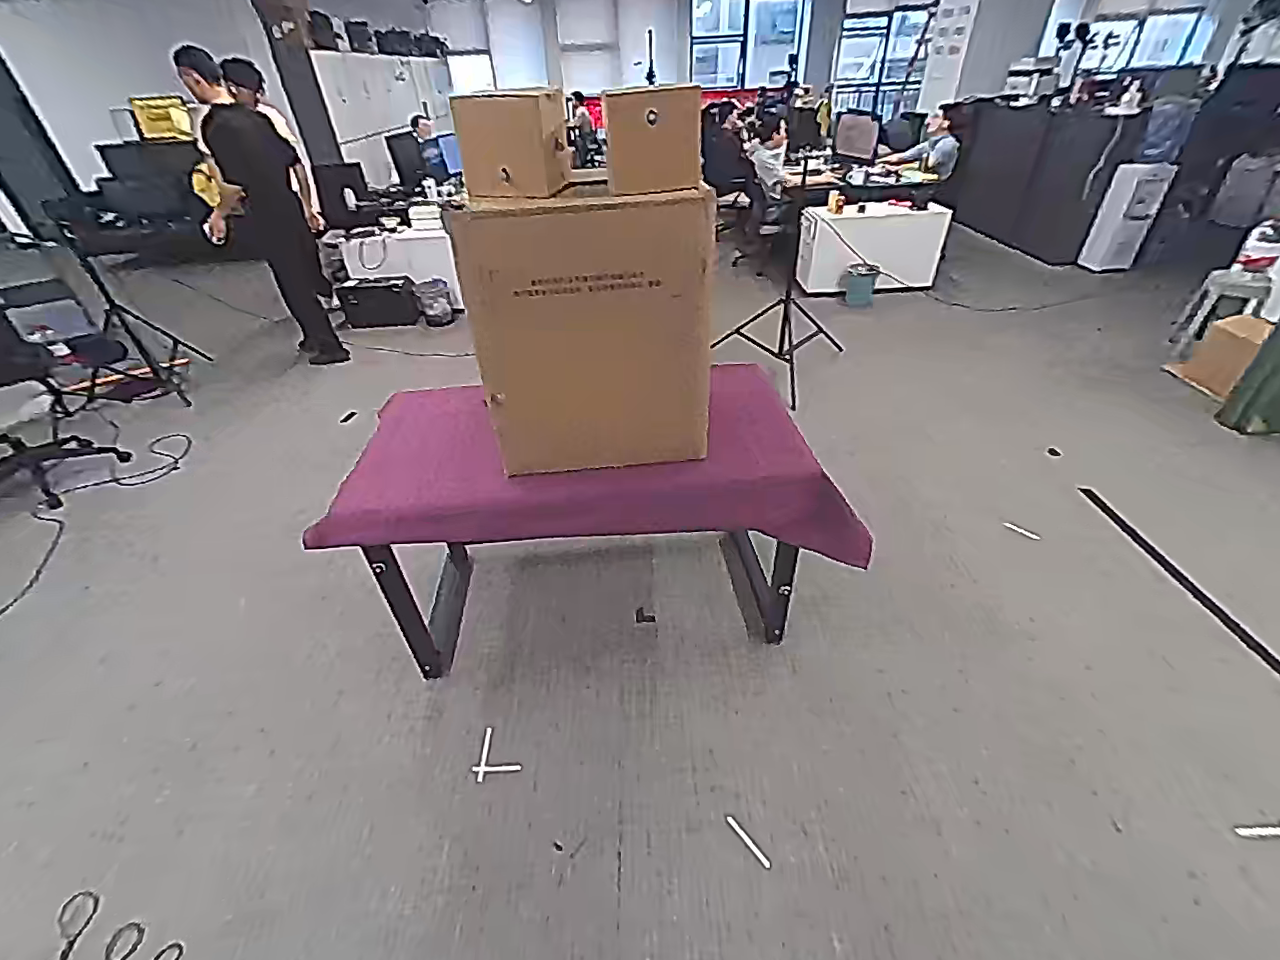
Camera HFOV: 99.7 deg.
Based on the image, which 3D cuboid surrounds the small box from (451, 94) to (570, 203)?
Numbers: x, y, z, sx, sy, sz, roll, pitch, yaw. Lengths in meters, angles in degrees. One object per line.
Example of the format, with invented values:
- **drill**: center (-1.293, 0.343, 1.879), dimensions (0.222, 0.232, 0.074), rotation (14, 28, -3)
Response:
- **small box**: center (-0.248, -0.666, 1.089), dimensions (0.179, 0.176, 0.168), rotation (5, 39, 9)

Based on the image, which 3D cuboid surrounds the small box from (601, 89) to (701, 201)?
- **small box**: center (0.022, -0.664, 1.072), dimensions (0.179, 0.176, 0.168), rotation (-6, 38, -3)
